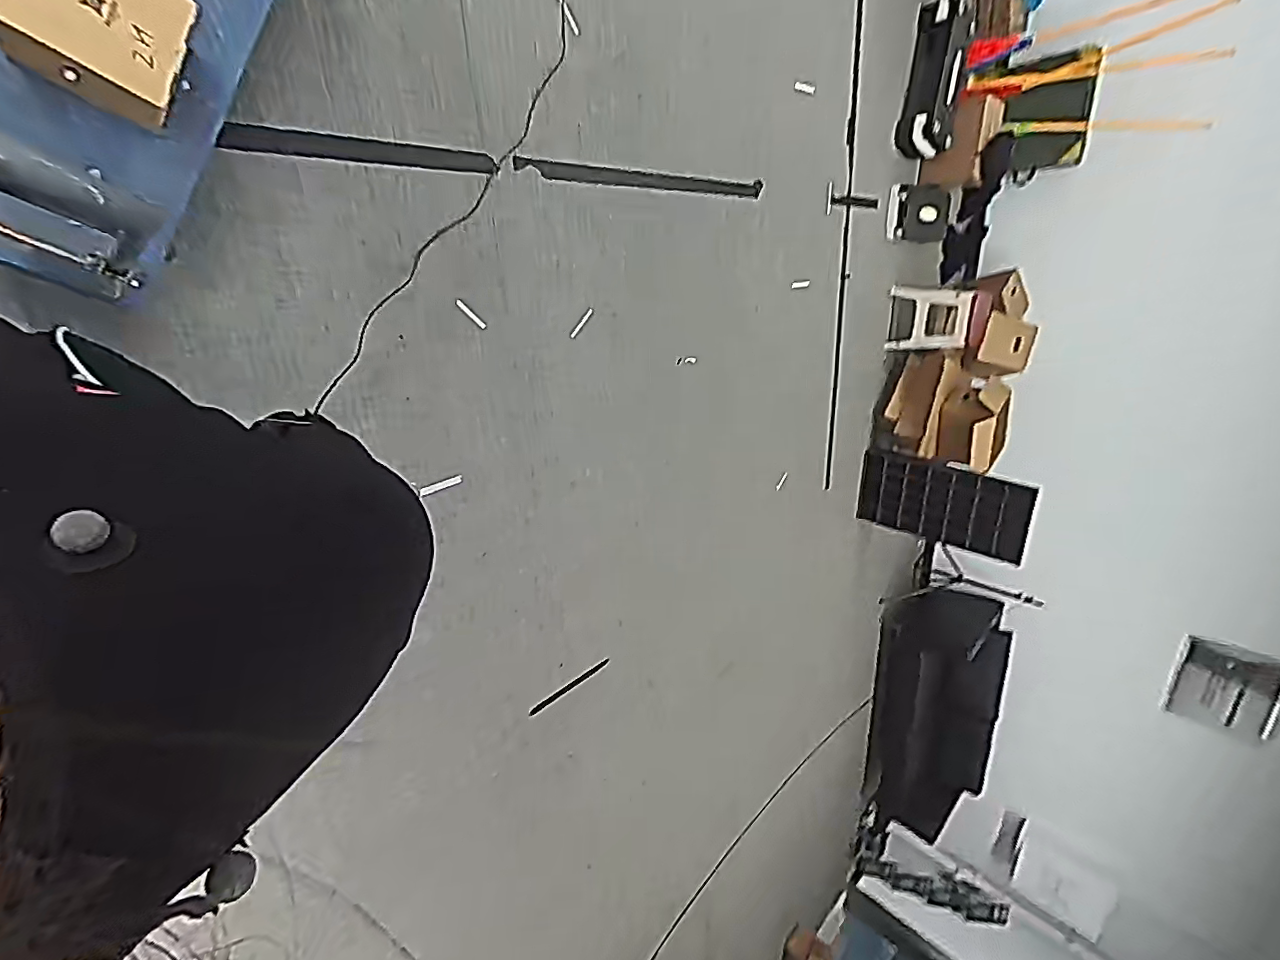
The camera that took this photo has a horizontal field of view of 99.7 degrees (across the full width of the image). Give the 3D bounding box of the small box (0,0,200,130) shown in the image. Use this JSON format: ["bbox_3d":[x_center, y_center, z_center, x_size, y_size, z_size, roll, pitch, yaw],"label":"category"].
[{"bbox_3d":[-0.784,-0.652,0.788,0.179,0.176,0.168,18,90,-46],"label":"small box"}]
